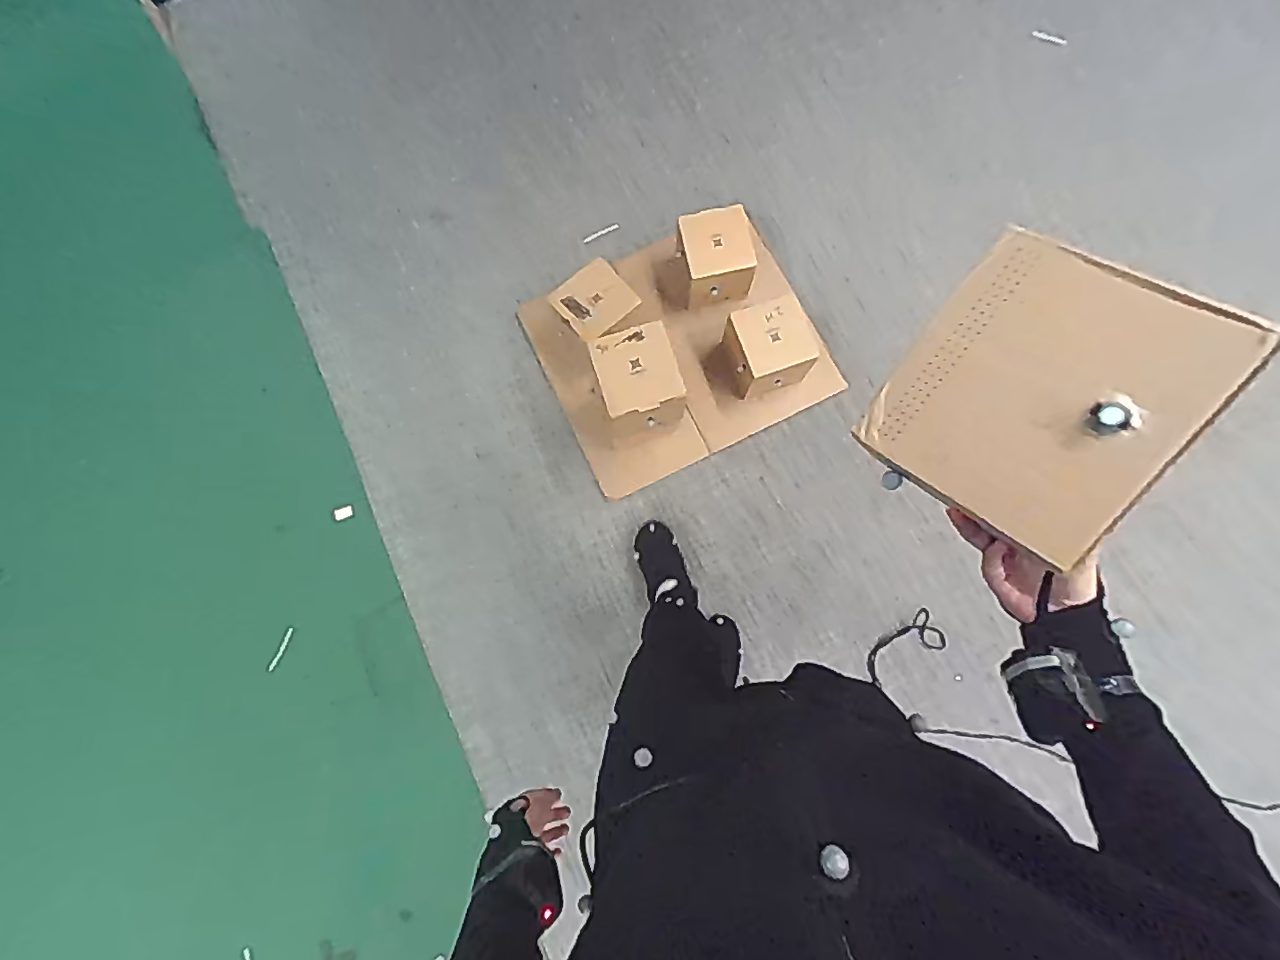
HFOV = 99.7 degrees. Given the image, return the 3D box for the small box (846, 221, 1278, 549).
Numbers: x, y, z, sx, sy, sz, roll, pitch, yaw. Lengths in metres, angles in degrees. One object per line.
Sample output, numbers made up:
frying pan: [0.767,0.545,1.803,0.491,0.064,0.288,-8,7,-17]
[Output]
small box: [0.294,-0.065,0.424,0.176,0.168,0.179,42,106,29]

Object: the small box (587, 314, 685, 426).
small box: [-0.005,-0.228,1.179,0.168,0.176,0.179,-17,81,-1]

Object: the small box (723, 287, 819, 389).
small box: [0.318,-0.341,1.344,0.168,0.176,0.179,-18,80,-1]

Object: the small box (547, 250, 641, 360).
small box: [-0.108,-0.437,1.385,0.179,0.176,0.168,-40,81,-5]
